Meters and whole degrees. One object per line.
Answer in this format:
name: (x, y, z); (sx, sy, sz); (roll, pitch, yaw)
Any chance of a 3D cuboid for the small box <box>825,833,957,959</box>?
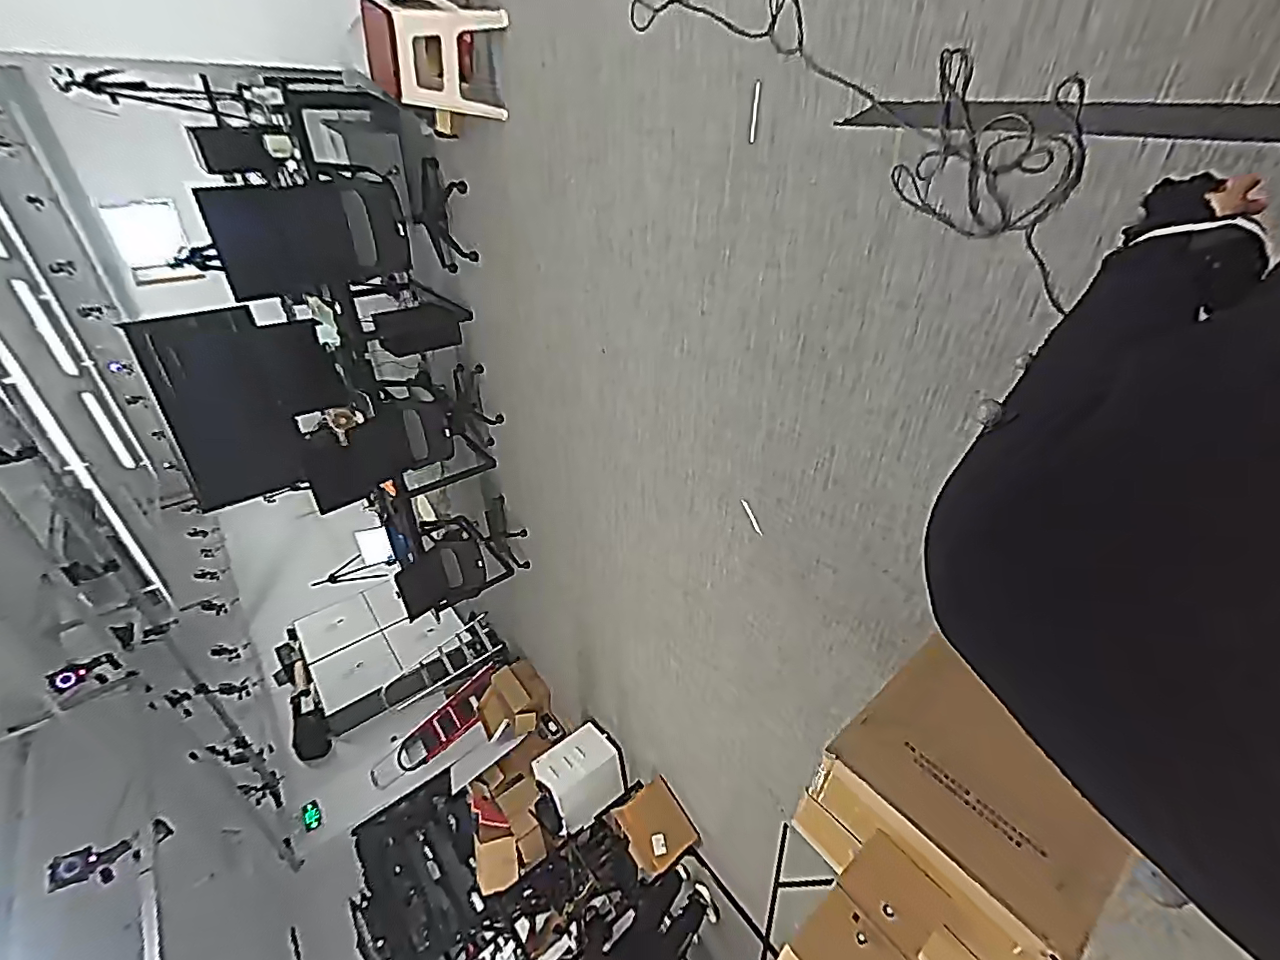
small box: (0.534, 0.909, 1.153); (0.179, 0.176, 0.168); (38, 139, 39)
